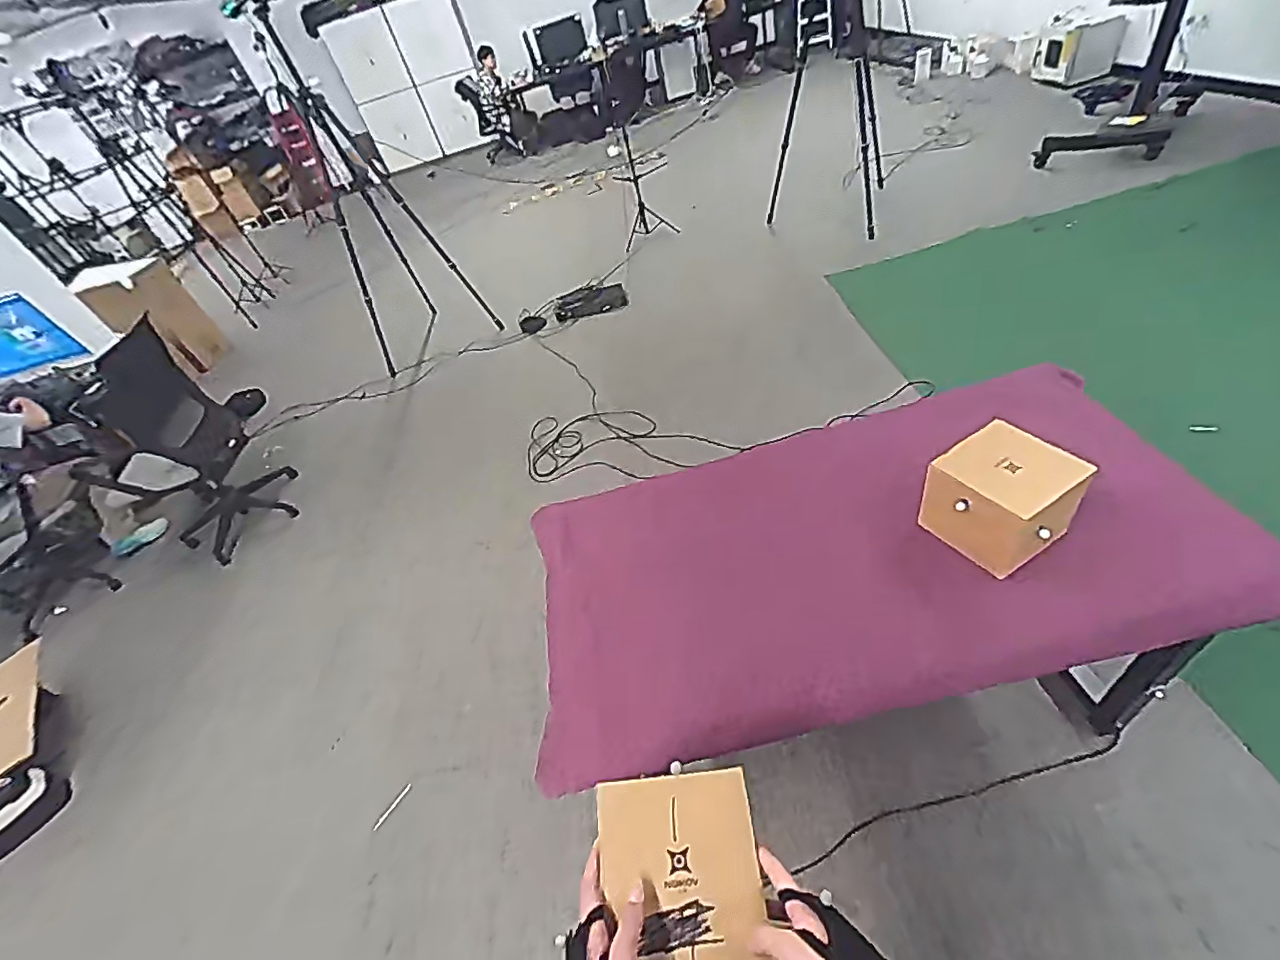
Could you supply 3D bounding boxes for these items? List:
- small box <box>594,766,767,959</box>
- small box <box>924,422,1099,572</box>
[{"bbox_3d":[0.043,0.433,0.621,0.168,0.176,0.179,-6,60,2],"label":"small box"},{"bbox_3d":[0.631,0.036,0.943,0.168,0.176,0.179,-30,44,-11],"label":"small box"}]
